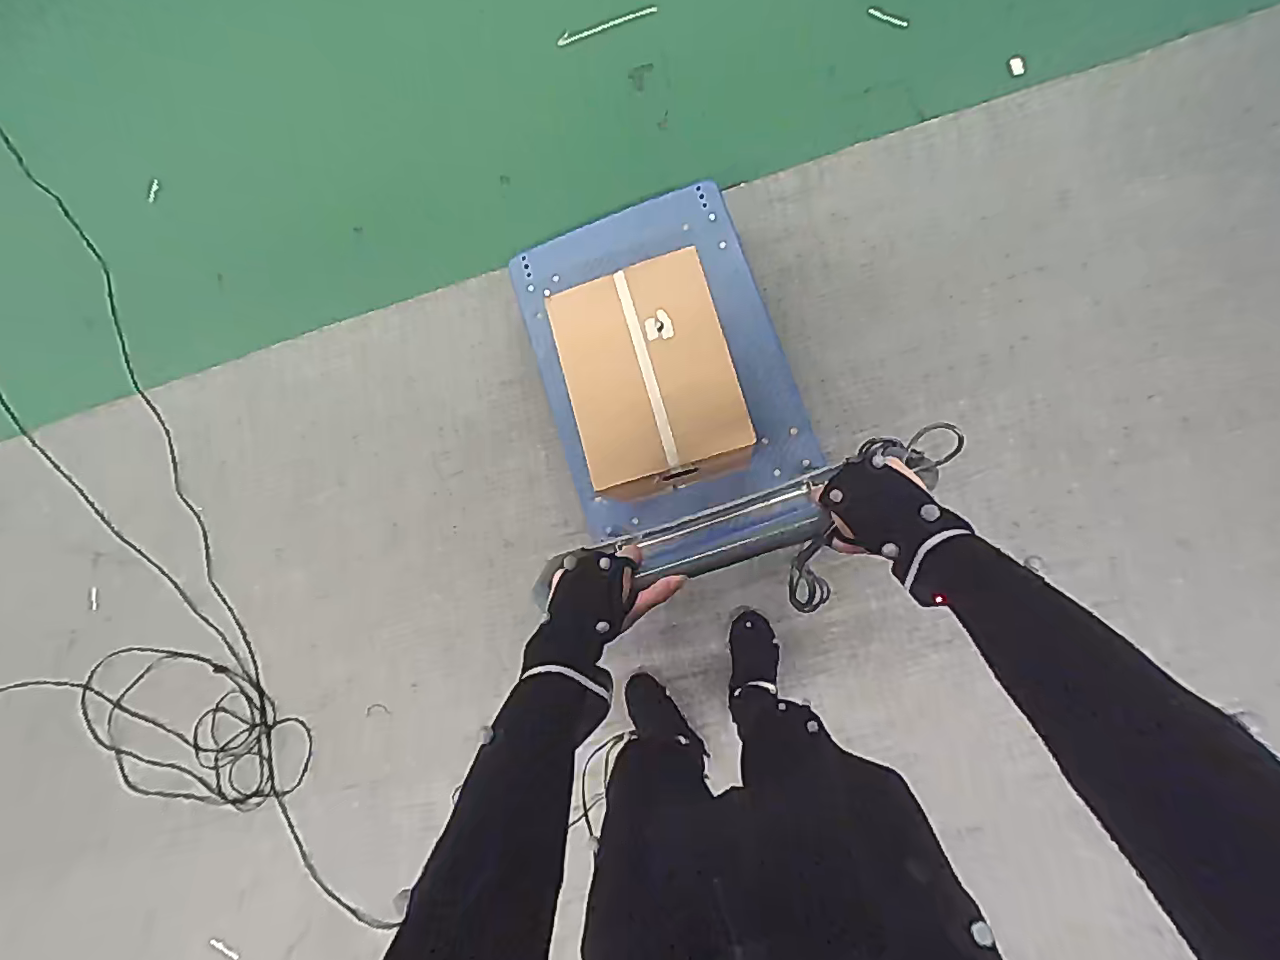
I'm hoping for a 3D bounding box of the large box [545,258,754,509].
[{"bbox_3d":[0.035,-0.178,1.169,0.320,0.320,0.408,-17,80,6],"label":"large box"}]
